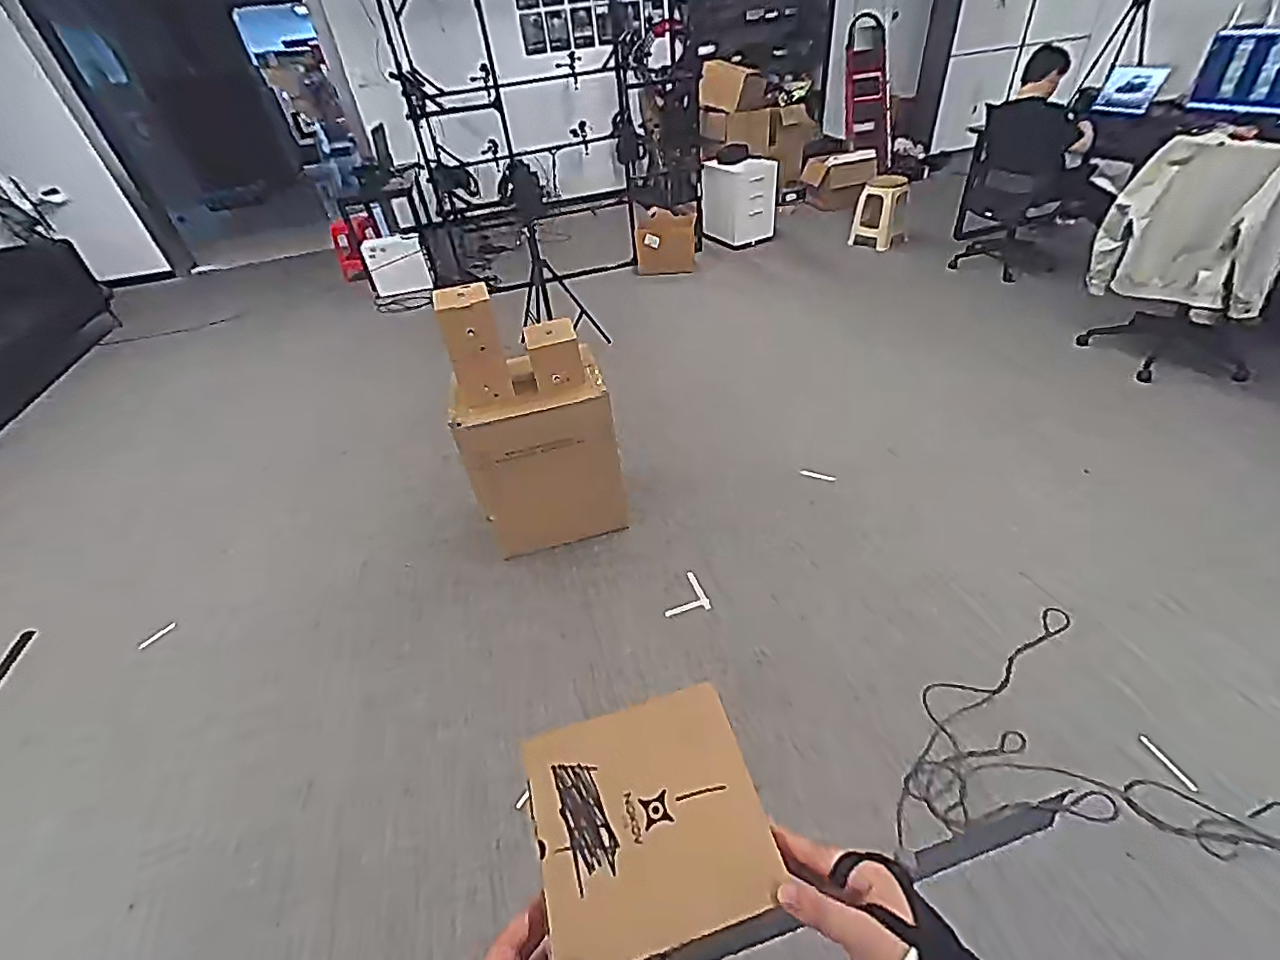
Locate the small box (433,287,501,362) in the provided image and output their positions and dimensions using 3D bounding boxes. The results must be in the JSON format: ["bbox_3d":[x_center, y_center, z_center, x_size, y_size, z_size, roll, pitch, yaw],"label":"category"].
[{"bbox_3d":[-0.547,-0.488,1.718,0.168,0.176,0.179,-15,41,-12],"label":"small box"}]

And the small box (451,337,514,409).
[{"bbox_3d":[-0.532,-0.361,1.821,0.168,0.176,0.179,-14,41,-10],"label":"small box"}]

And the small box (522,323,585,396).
[{"bbox_3d":[-0.295,-0.411,1.848,0.168,0.176,0.179,-16,42,-7],"label":"small box"}]

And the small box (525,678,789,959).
[{"bbox_3d":[0.011,0.310,0.481,0.179,0.176,0.168,-15,47,-8],"label":"small box"}]
